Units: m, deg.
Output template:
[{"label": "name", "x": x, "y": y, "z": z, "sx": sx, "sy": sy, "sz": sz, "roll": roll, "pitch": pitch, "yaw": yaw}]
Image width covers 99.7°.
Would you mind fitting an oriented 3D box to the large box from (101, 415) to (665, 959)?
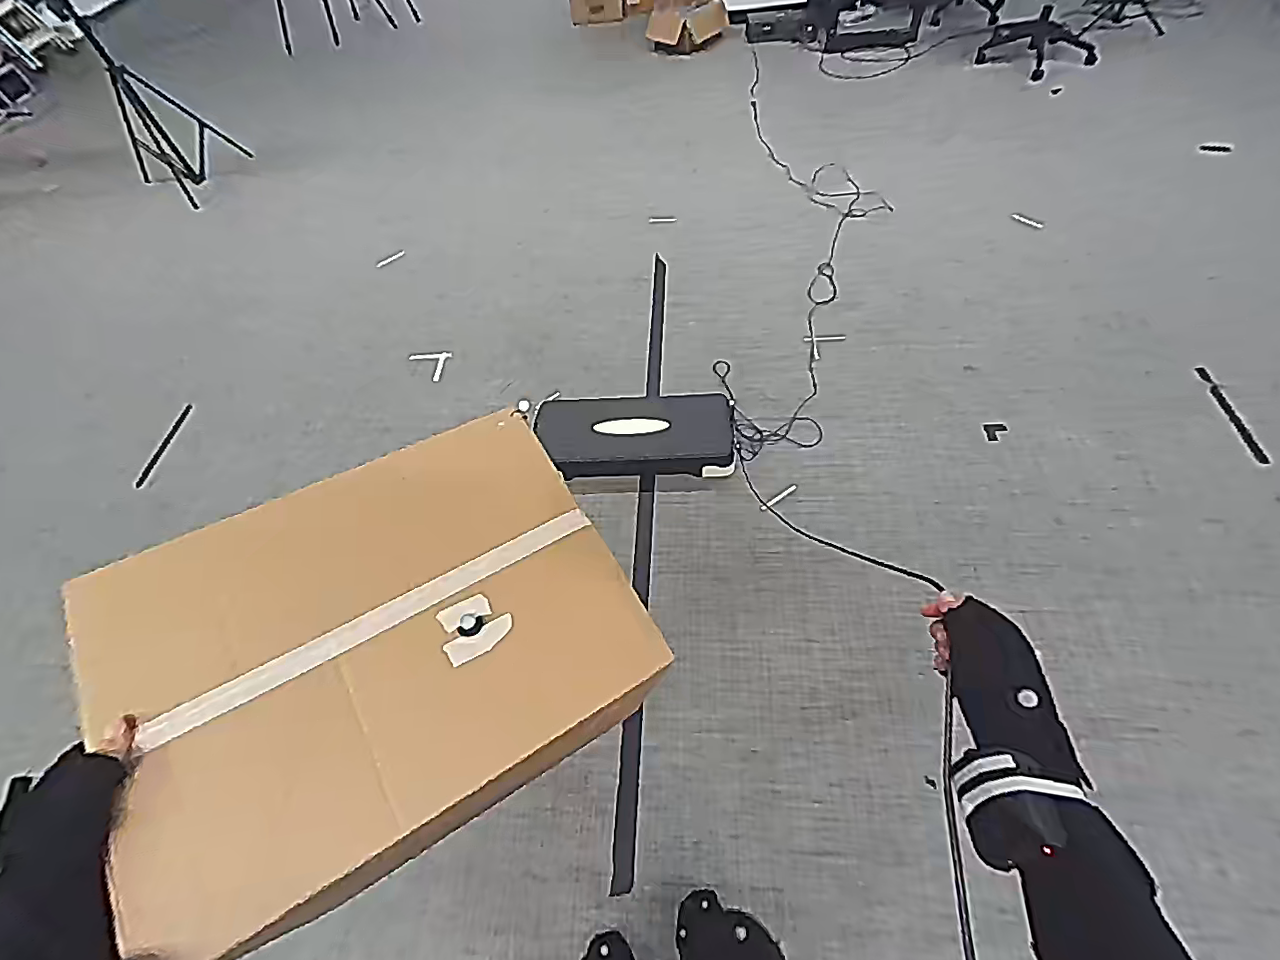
[{"label": "large box", "x": -0.236, "y": 0.199, "z": 0.601, "sx": 0.408, "sy": 0.320, "sz": 0.320, "roll": -26, "pitch": 66, "yaw": -21}]
